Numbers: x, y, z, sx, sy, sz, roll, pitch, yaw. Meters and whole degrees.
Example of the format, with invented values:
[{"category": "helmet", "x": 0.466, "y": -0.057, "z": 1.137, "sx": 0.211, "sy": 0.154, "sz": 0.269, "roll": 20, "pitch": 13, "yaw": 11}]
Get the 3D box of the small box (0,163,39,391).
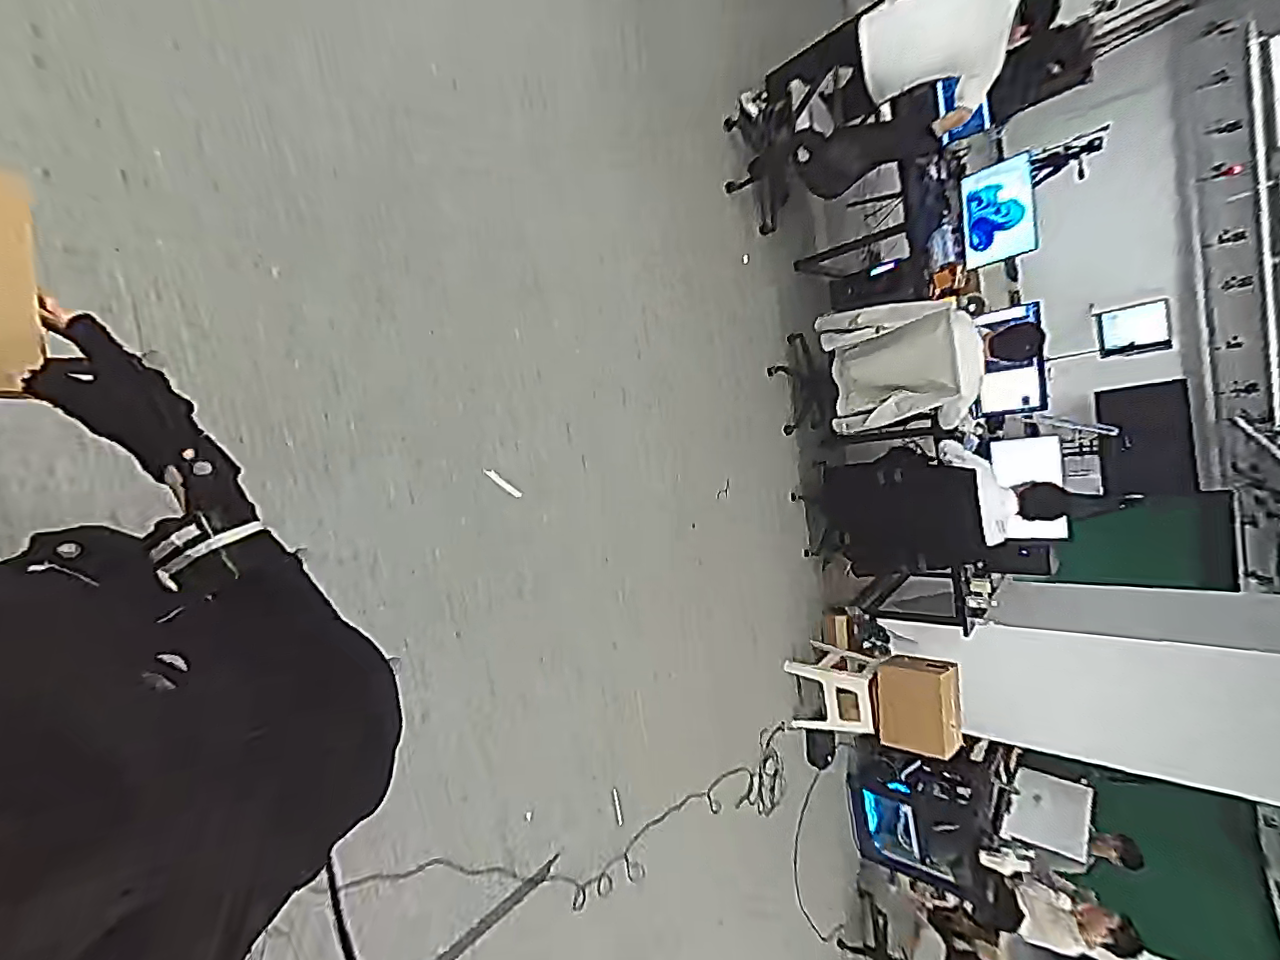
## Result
[{"category": "small box", "x": -0.585, "y": -0.154, "z": 0.402, "sx": 0.179, "sy": 0.176, "sz": 0.168, "roll": -7, "pitch": 100, "yaw": -48}]
